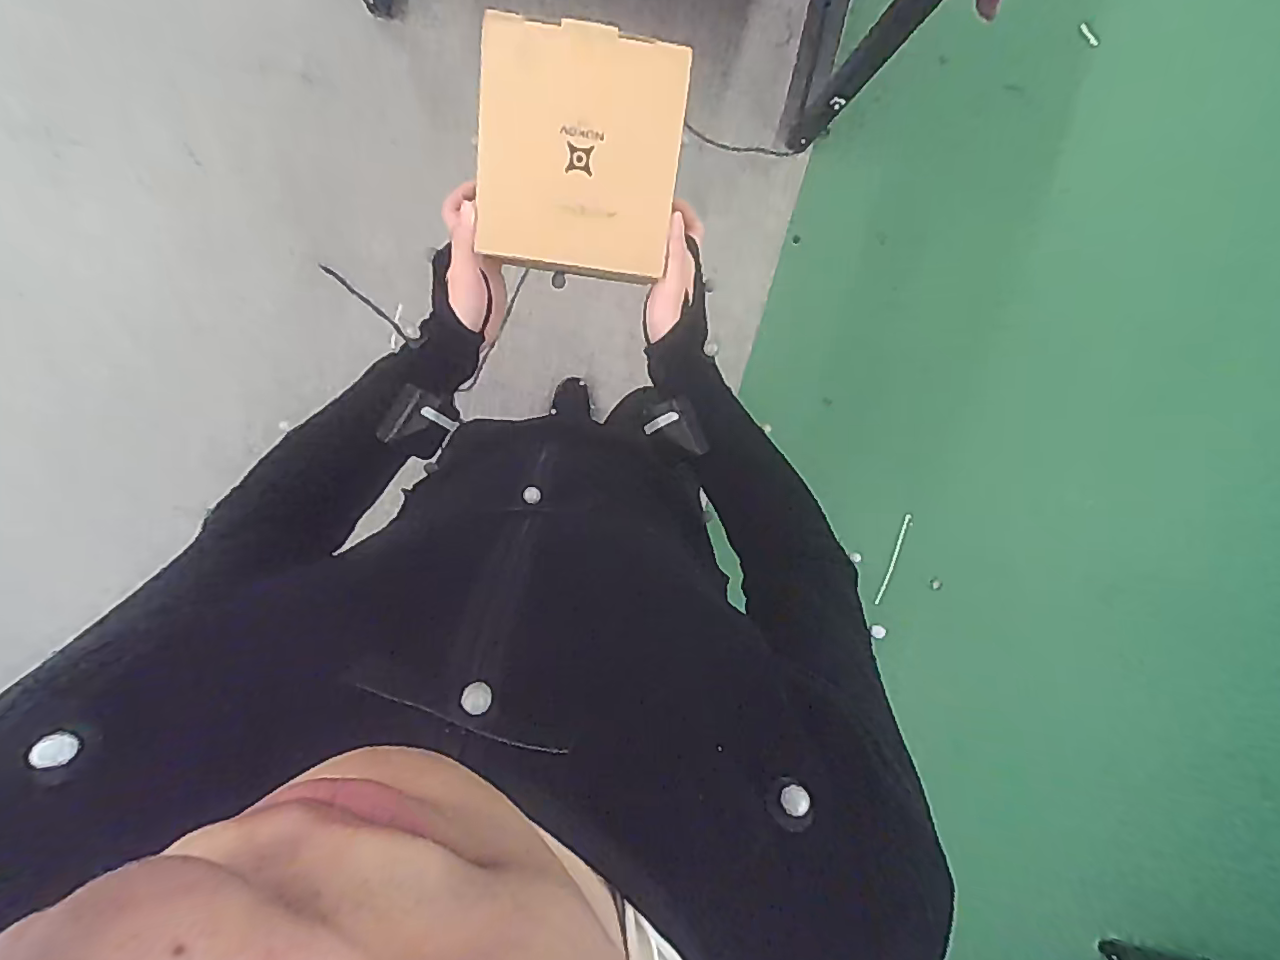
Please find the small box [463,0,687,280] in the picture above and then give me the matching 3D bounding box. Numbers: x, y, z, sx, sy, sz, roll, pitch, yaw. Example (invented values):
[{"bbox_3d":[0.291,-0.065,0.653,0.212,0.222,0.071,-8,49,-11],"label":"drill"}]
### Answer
[{"bbox_3d":[-0.061,-0.293,0.508,0.168,0.176,0.179,6,108,-6],"label":"small box"}]
